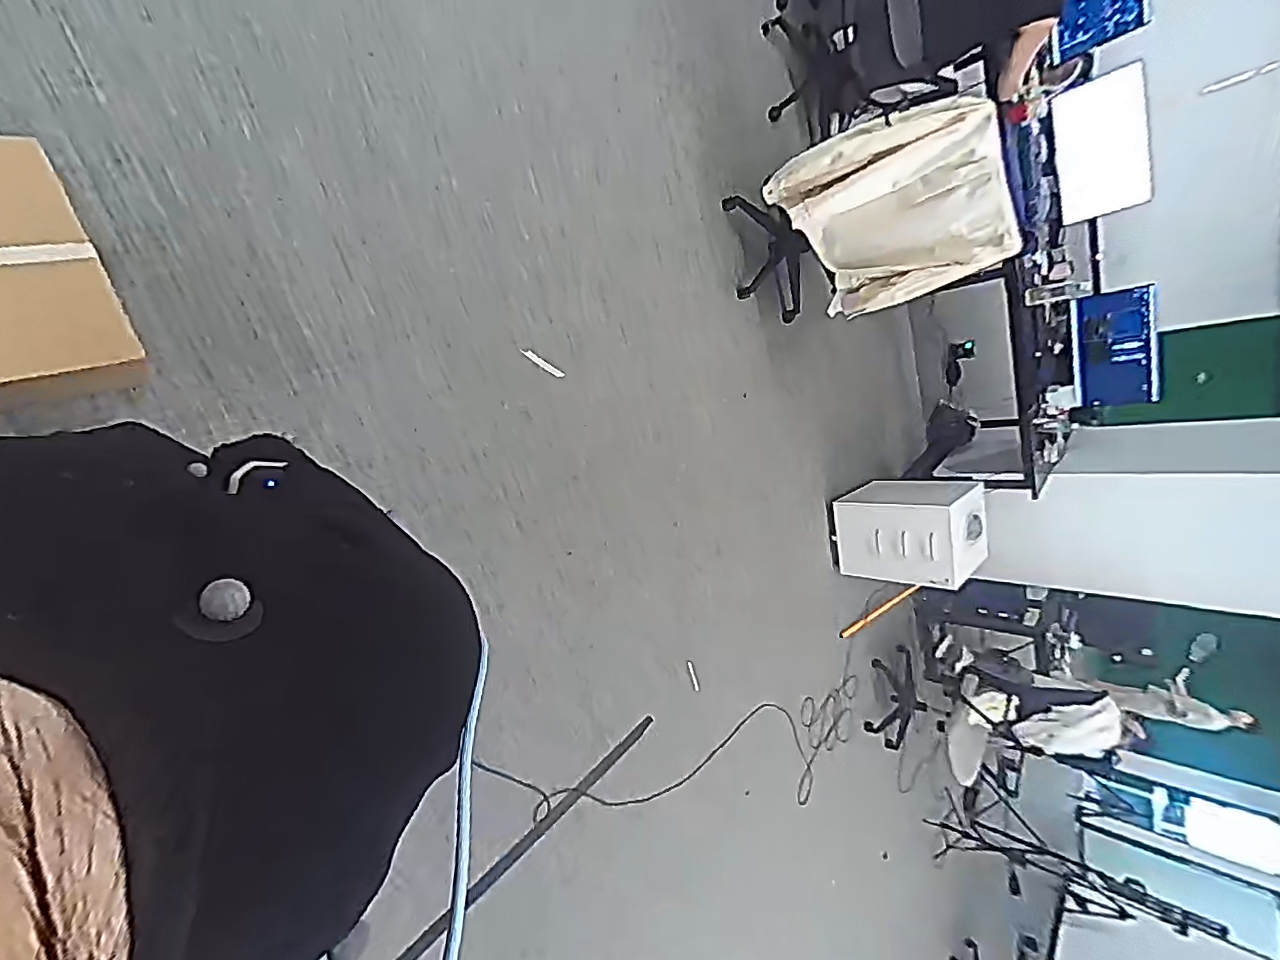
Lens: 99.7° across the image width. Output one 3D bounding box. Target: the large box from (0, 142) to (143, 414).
[{"bbox_3d":[-1.036,-0.251,0.771,0.408,0.320,0.320,-28,110,-40],"label":"large box"}]
